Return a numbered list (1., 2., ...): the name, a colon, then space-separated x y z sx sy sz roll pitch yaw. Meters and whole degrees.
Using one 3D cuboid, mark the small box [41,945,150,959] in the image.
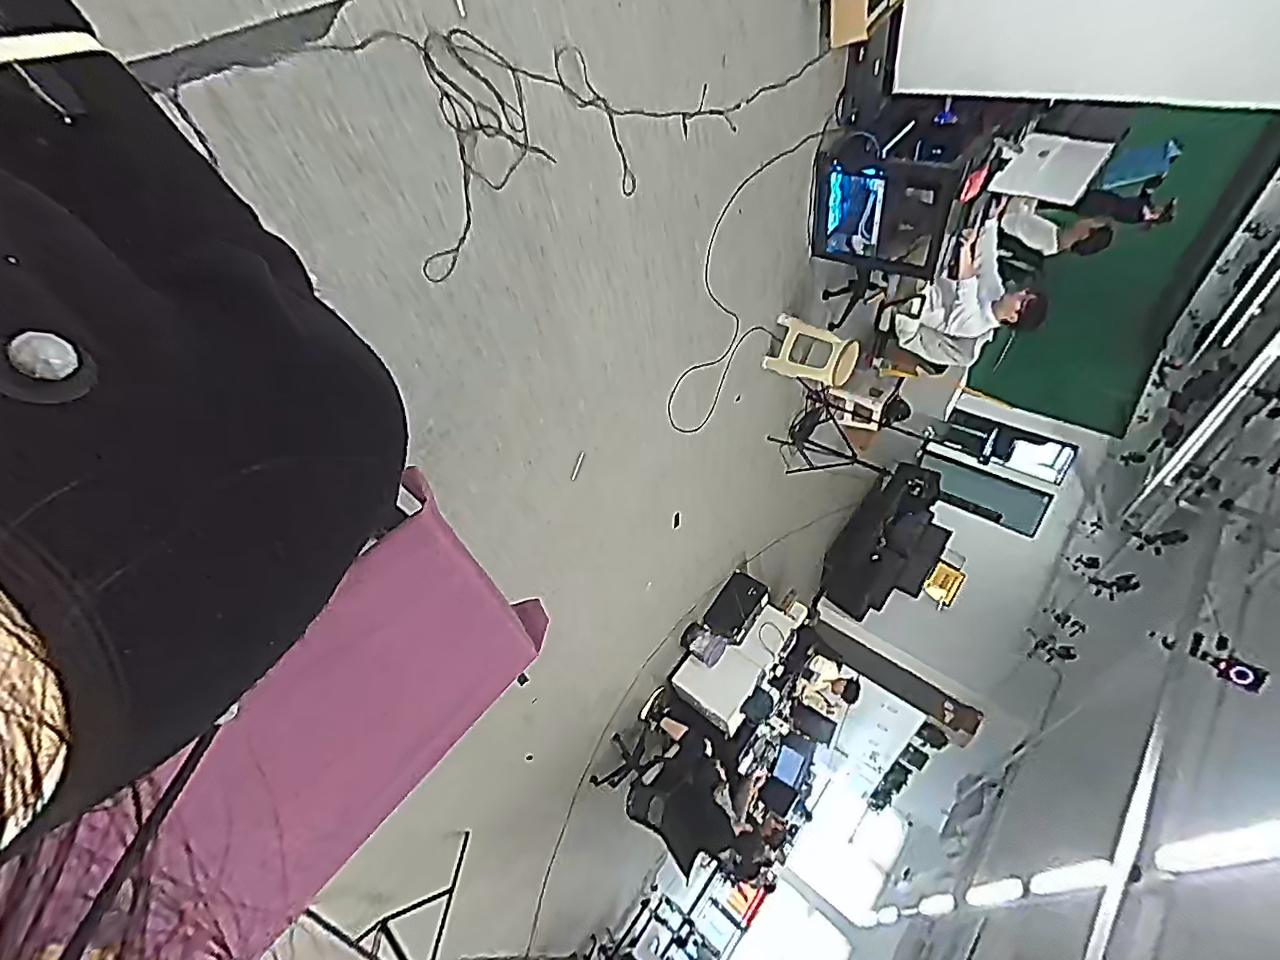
1. small box: -0.819 0.808 0.763 0.168 0.176 0.179 -44 144 -27
